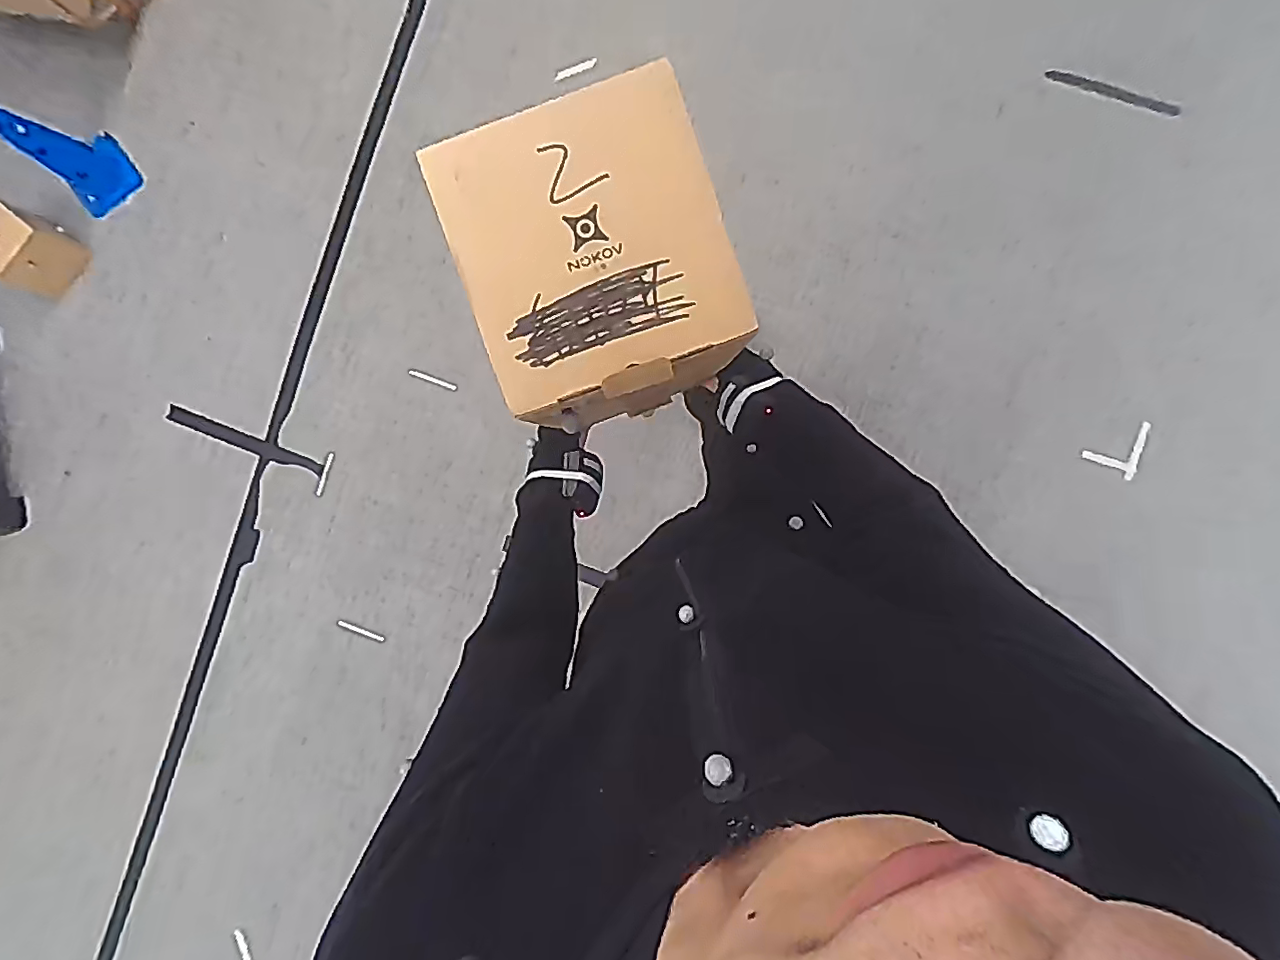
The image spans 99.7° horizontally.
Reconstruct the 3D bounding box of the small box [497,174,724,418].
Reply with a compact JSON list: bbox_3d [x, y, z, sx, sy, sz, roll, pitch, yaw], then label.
[{"bbox_3d":[-0.027,-0.174,0.572,0.168,0.176,0.179,-20,94,2],"label":"small box"}]
